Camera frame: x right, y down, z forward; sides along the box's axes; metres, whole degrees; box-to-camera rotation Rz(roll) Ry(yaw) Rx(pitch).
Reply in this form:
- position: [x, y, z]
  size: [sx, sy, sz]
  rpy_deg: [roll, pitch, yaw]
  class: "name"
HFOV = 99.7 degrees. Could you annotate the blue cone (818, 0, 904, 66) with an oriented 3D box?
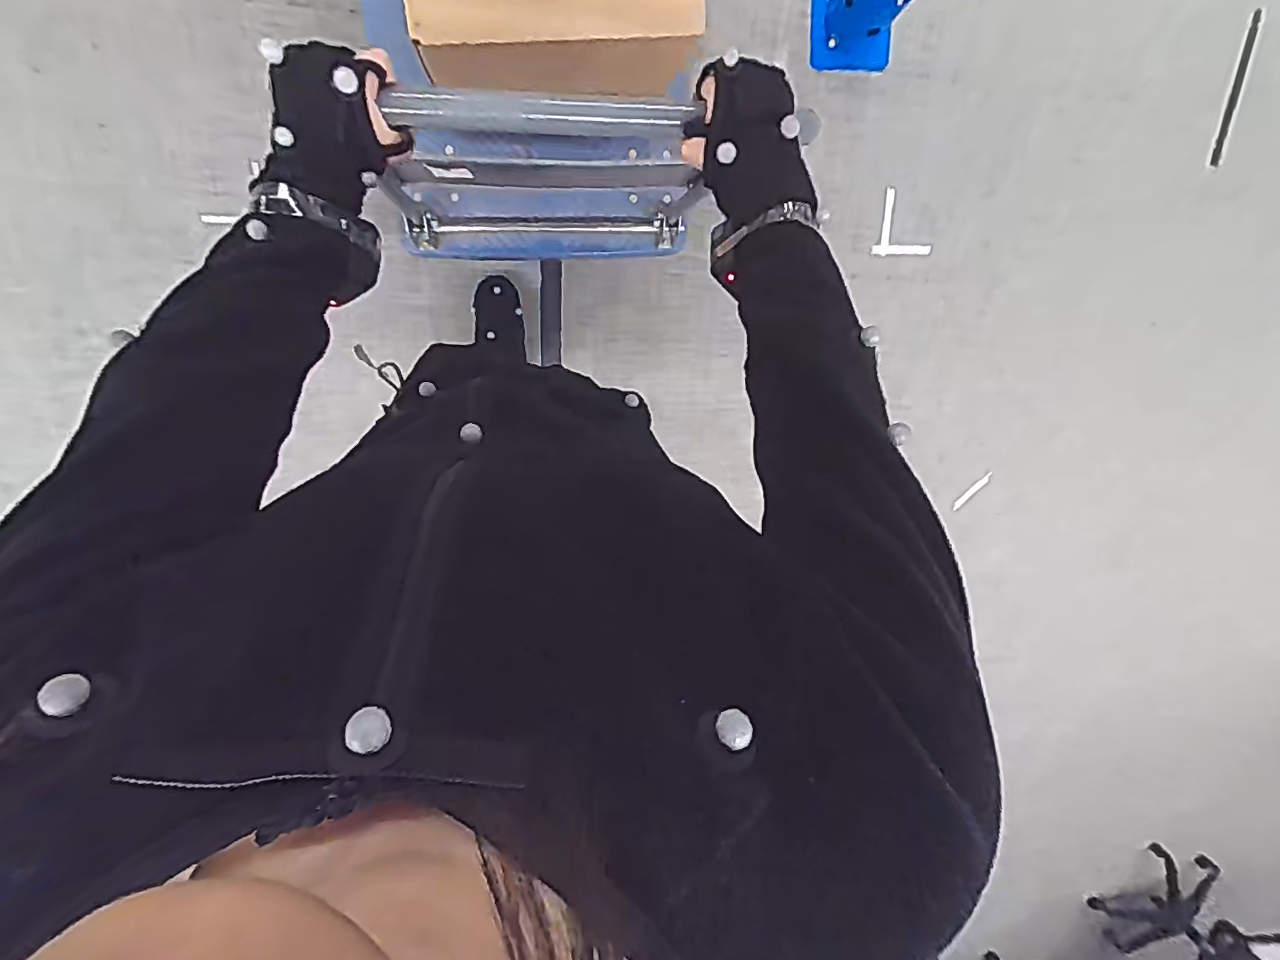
- position: [0.525, -1.011, 1.079]
  size: [0.193, 0.380, 0.192]
  rpy_deg: [-5, 108, -10]
  class: "blue cone"
